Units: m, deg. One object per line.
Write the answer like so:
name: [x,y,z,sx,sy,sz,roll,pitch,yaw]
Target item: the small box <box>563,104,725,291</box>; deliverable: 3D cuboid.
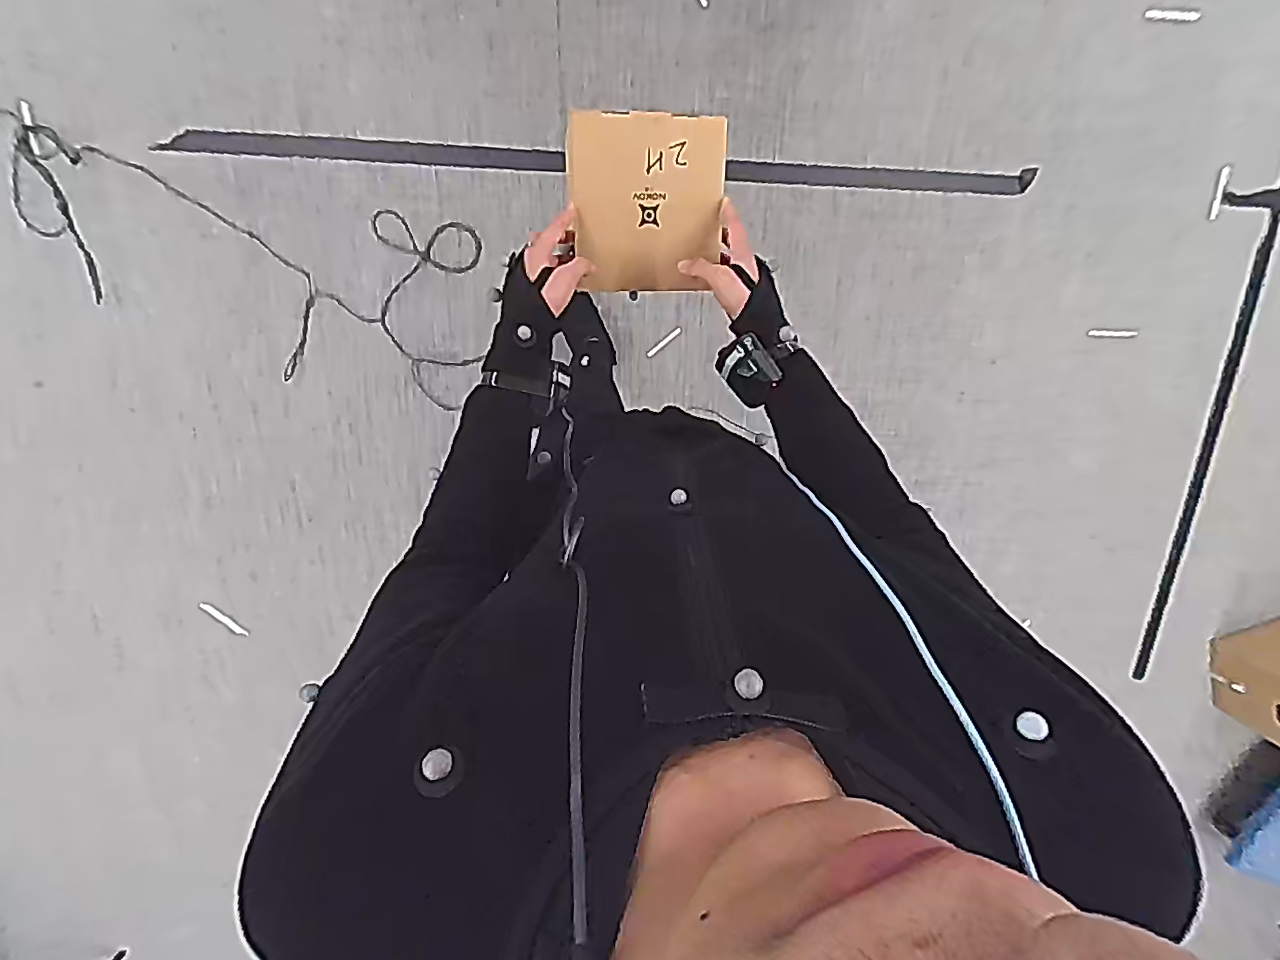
small box: [-0.006,-0.327,0.653,0.168,0.176,0.179,-3,112,-9]
